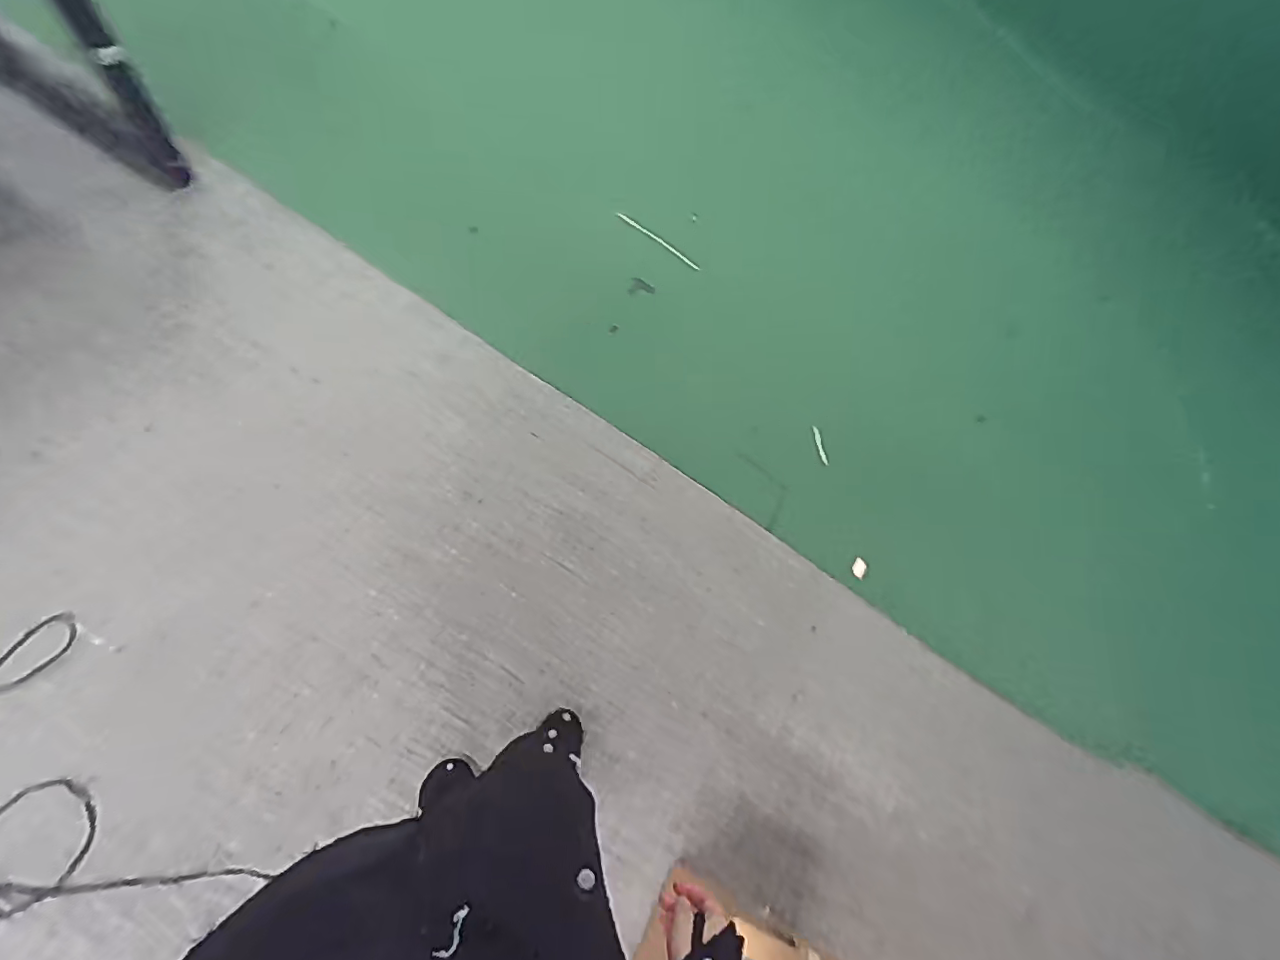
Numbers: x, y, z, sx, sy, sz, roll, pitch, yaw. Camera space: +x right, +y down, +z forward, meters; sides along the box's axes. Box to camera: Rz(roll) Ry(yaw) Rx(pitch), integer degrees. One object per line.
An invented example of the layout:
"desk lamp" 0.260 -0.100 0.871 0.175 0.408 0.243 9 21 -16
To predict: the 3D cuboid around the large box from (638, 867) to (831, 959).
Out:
"large box" 0.151 0.989 0.924 0.320 0.320 0.408 31 66 -1
